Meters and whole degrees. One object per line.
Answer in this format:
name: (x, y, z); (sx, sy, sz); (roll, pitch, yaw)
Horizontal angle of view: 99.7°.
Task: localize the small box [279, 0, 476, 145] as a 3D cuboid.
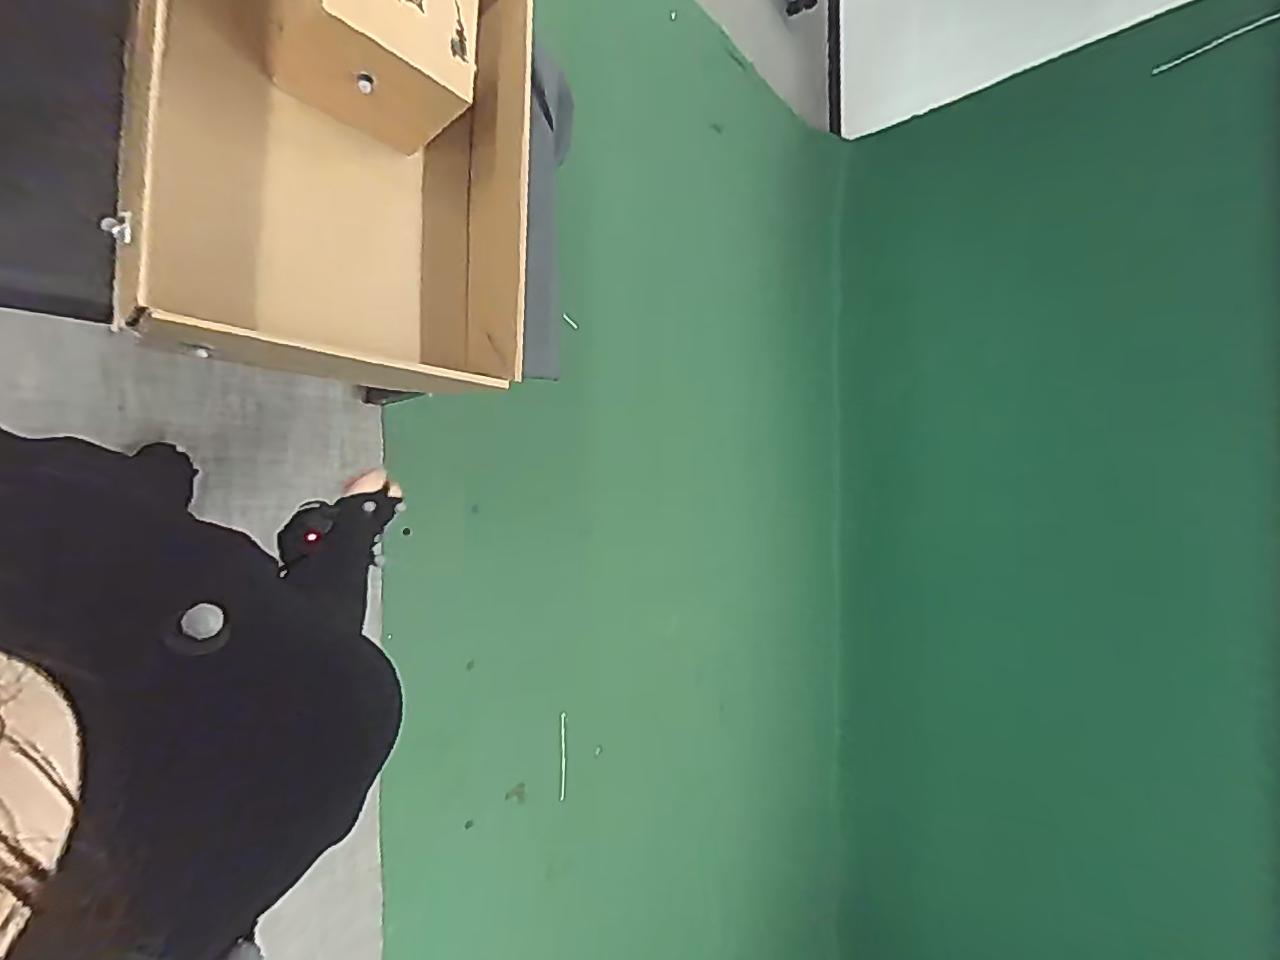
small box: (-0.325, -0.557, 0.668); (0.179, 0.176, 0.168); (4, 88, -47)
